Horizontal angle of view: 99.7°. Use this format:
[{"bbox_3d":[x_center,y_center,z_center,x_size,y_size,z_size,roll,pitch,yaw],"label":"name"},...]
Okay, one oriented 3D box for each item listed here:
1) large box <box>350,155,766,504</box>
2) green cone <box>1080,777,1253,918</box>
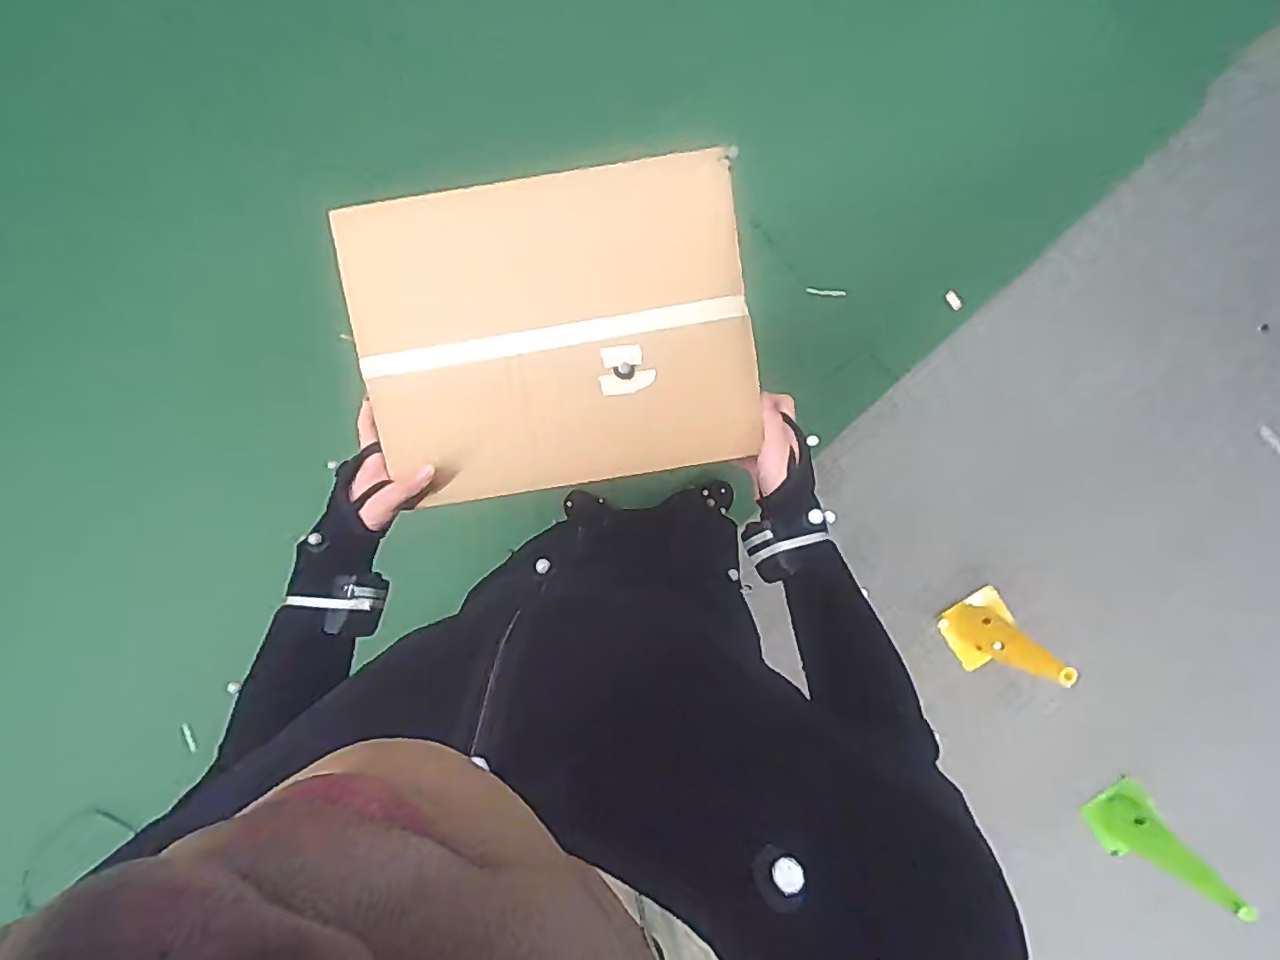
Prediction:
[{"bbox_3d":[-0.084,-0.171,0.717,0.408,0.320,0.320,-8,98,-1],"label":"large box"},{"bbox_3d":[1.487,1.048,1.497,0.200,0.368,0.202,-37,91,2],"label":"green cone"}]
